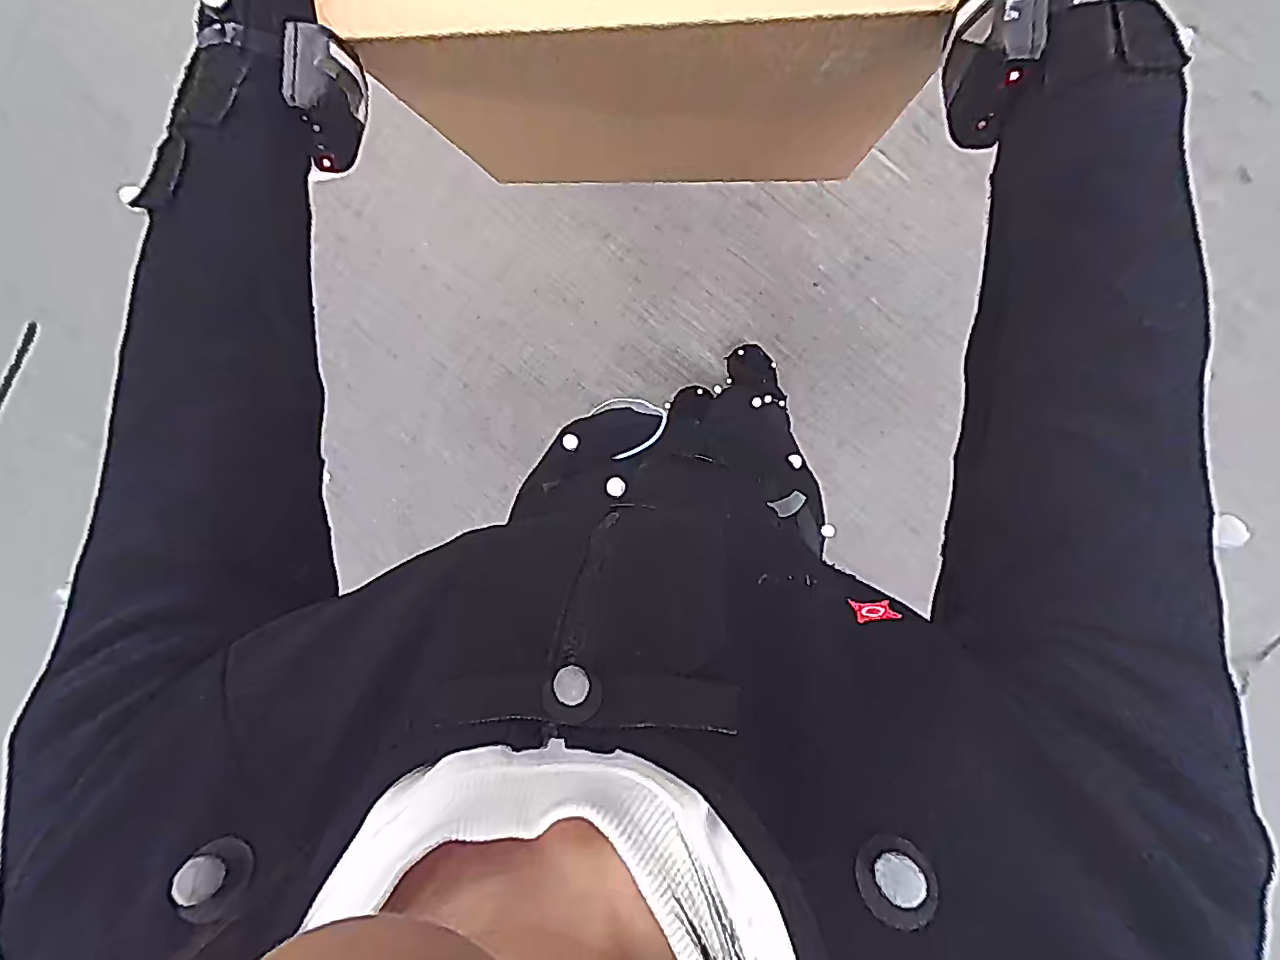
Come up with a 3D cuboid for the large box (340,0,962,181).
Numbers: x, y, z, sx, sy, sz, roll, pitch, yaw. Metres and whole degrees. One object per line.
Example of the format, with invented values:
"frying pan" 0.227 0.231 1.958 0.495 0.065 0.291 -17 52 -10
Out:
"large box" 0.013 -0.468 0.446 0.408 0.320 0.320 1 104 5
